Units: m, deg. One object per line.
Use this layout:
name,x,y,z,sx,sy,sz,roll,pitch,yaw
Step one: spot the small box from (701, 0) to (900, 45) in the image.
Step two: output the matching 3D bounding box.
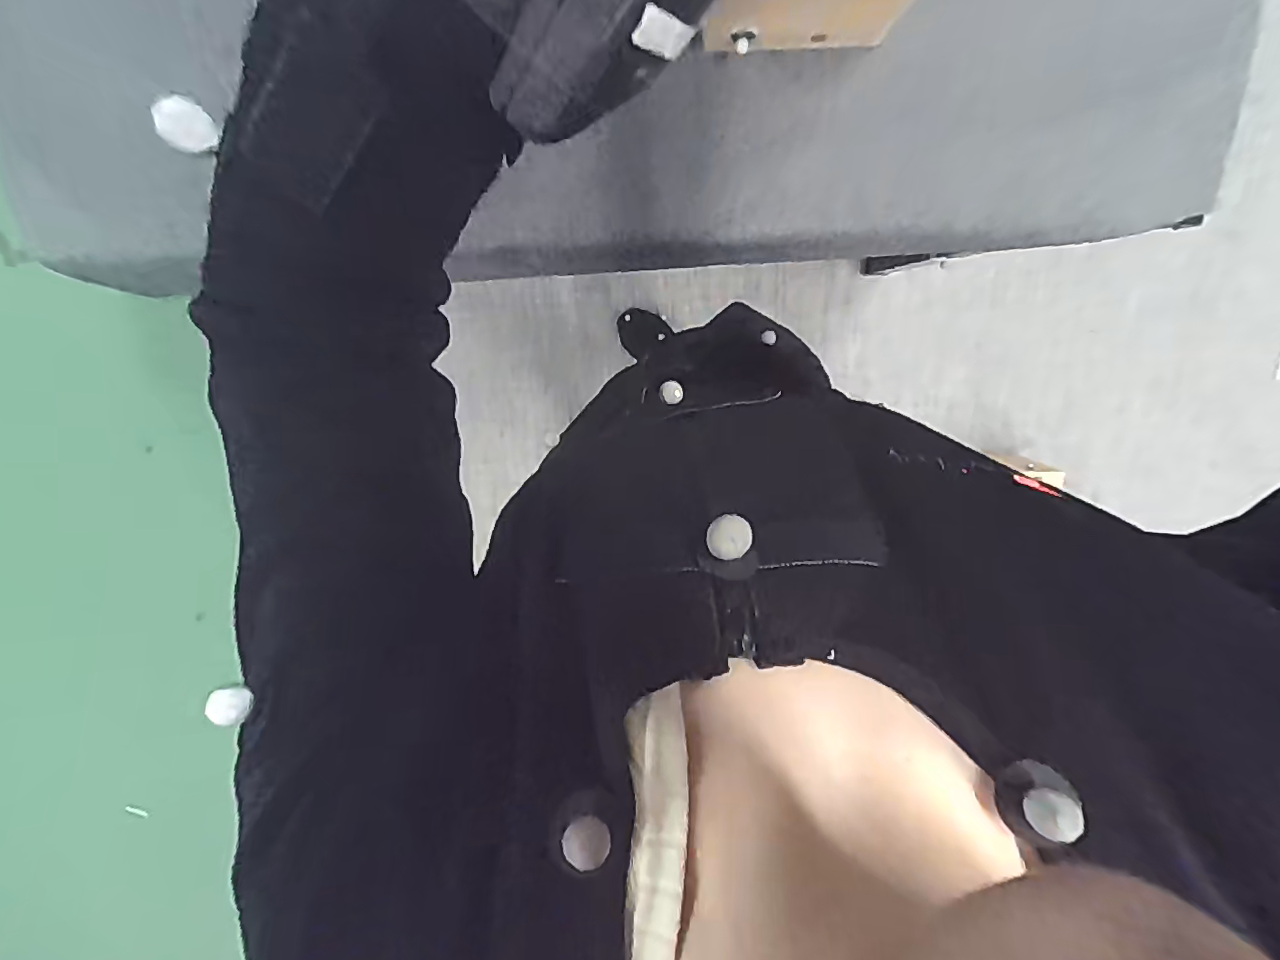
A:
small box,0.135,-0.463,0.407,0.168,0.176,0.179,-1,105,1

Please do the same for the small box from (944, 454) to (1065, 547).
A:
small box,0.854,0.044,1.288,0.168,0.176,0.179,1,107,2
